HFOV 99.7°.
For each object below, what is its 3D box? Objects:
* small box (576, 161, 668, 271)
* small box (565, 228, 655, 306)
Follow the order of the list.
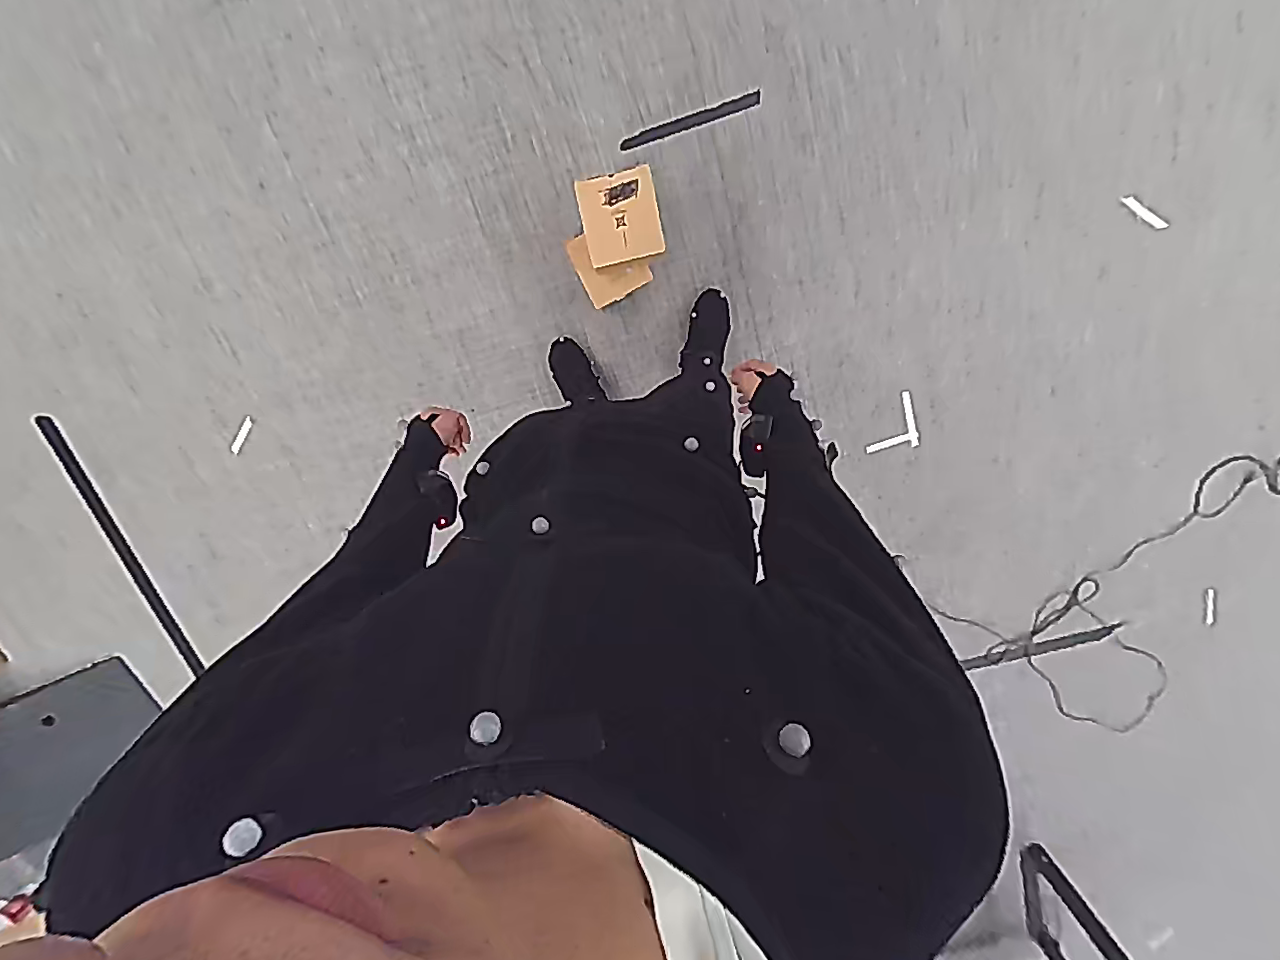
[{"bbox_3d":[-0.038,-0.580,1.210,0.168,0.176,0.179,-12,107,4],"label":"small box"},{"bbox_3d":[-0.073,-0.560,1.386,0.168,0.176,0.179,-26,106,8],"label":"small box"}]
